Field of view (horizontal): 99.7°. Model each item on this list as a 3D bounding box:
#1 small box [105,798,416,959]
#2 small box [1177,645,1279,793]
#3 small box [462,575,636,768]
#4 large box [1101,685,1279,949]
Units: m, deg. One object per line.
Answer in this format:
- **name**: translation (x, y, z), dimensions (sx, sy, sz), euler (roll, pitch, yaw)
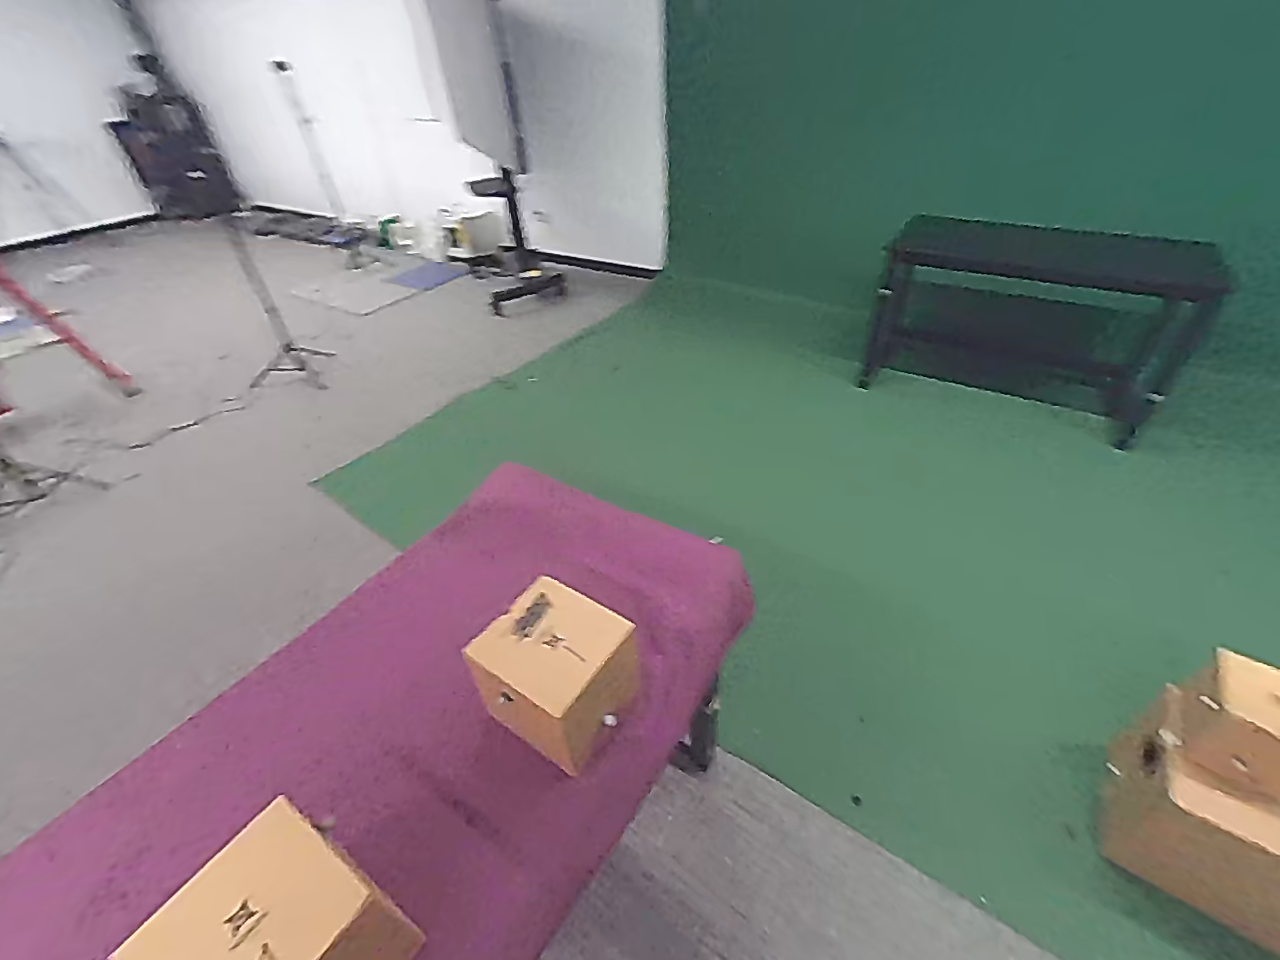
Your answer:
- **small box**: translation (-0.368, 0.479, 0.552), dimensions (0.179, 0.176, 0.168), euler (19, 44, 28)
- **small box**: translation (1.230, 0.479, 1.087), dimensions (0.168, 0.176, 0.179), euler (23, 45, 29)
- **small box**: translation (-0.123, 0.277, 0.786), dimensions (0.179, 0.176, 0.168), euler (21, 45, 28)
- **large box**: translation (1.300, 0.730, 1.156), dimensions (0.408, 0.320, 0.320), euler (23, 46, 28)
